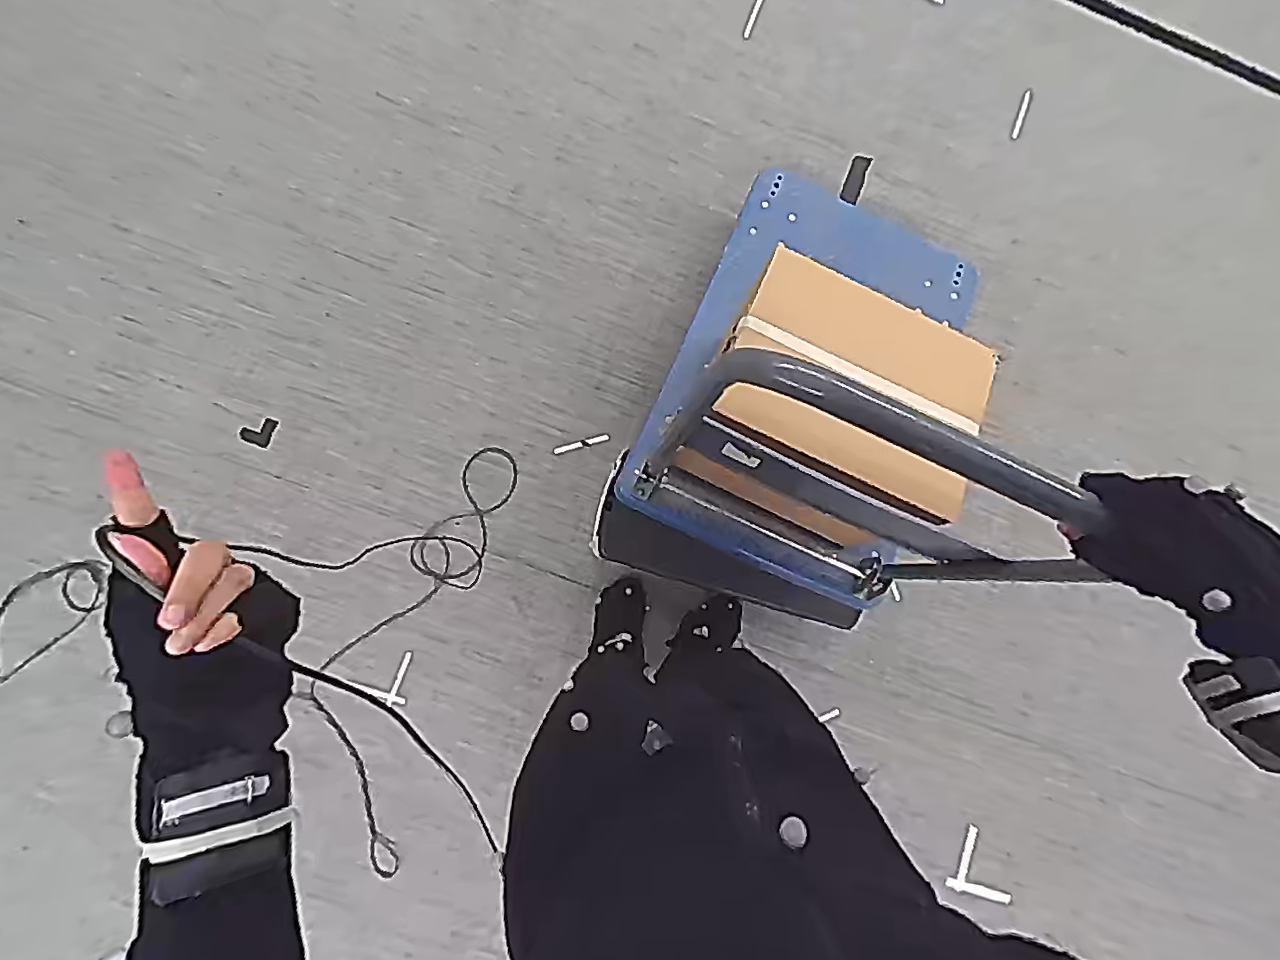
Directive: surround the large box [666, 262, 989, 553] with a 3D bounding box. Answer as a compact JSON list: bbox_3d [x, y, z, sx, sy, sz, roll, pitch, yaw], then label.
[{"bbox_3d":[0.307,-0.101,0.968,0.408,0.320,0.320,25,74,-3],"label":"large box"}]
